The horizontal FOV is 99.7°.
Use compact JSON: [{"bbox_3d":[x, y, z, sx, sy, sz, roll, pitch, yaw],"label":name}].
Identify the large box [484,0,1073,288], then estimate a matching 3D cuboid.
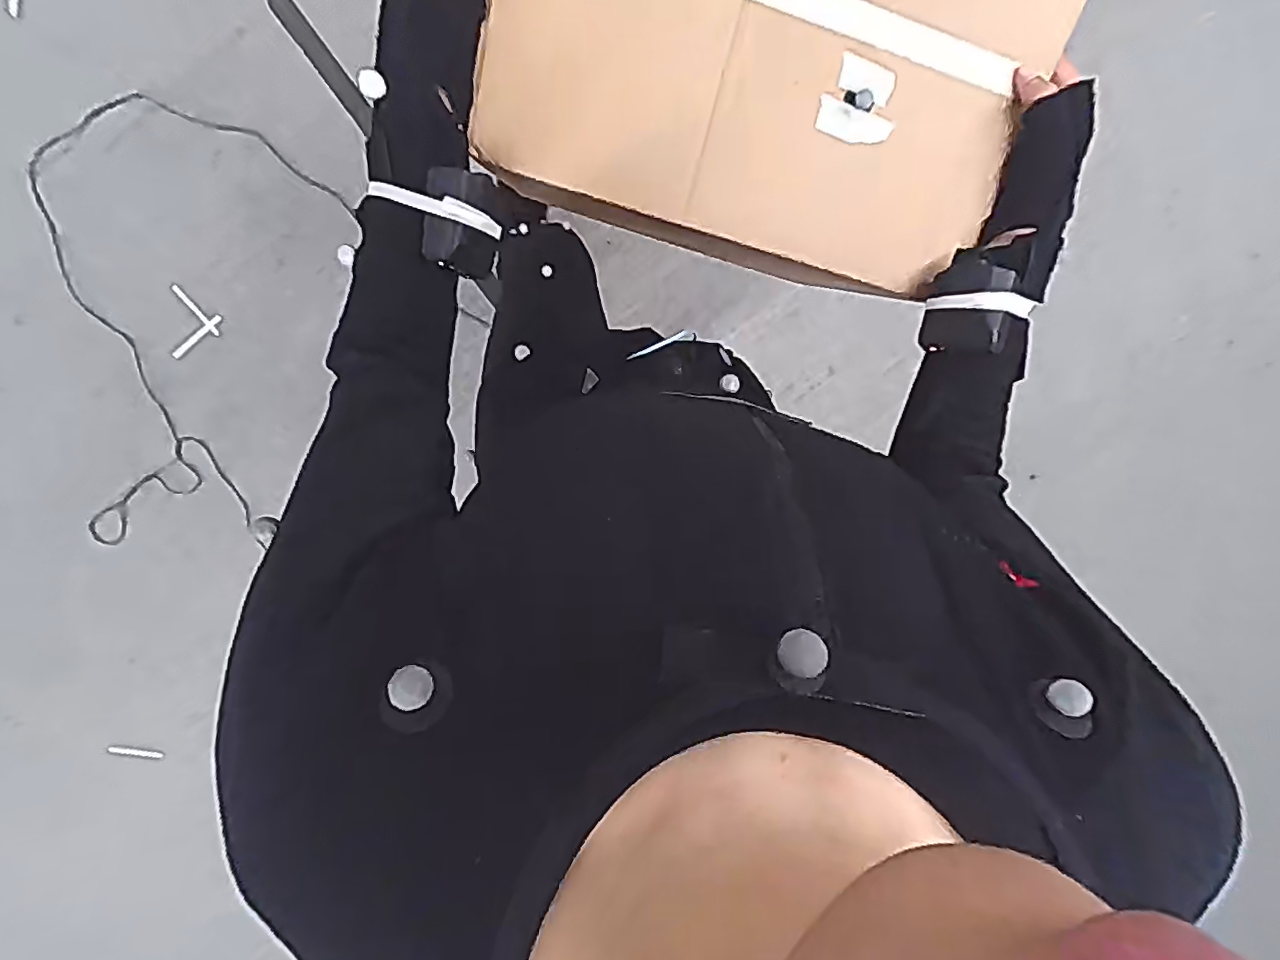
[{"bbox_3d":[0.095,-0.399,0.518,0.408,0.320,0.320,12,112,-11],"label":"large box"}]
